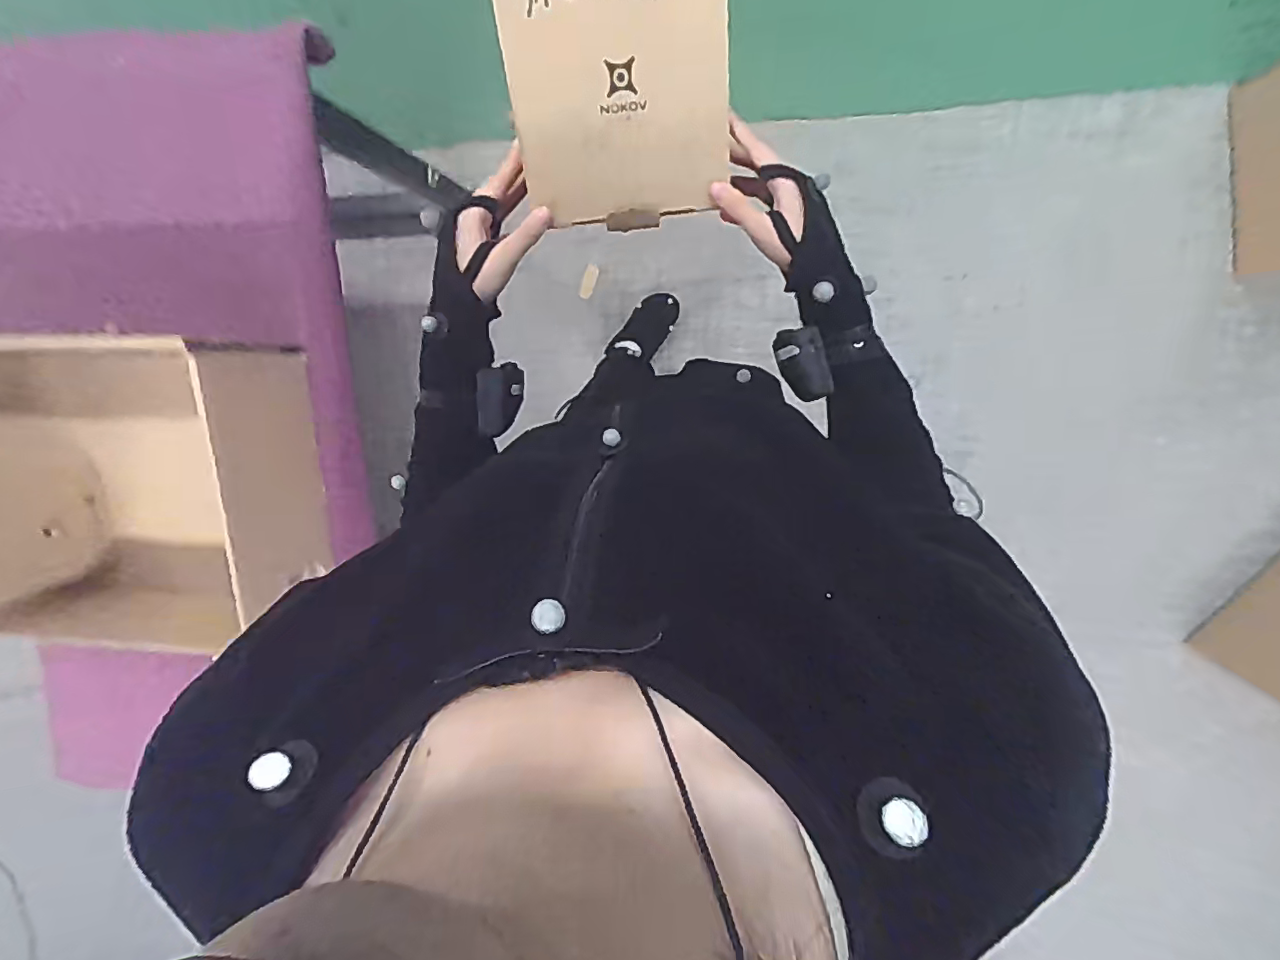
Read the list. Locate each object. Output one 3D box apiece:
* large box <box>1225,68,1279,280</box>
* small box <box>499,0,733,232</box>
[{"bbox_3d":[1.445,-0.649,1.035,0.320,0.320,0.408,-14,100,9],"label":"large box"},{"bbox_3d":[-0.018,-0.328,0.473,0.168,0.176,0.179,-7,121,-2],"label":"small box"}]
